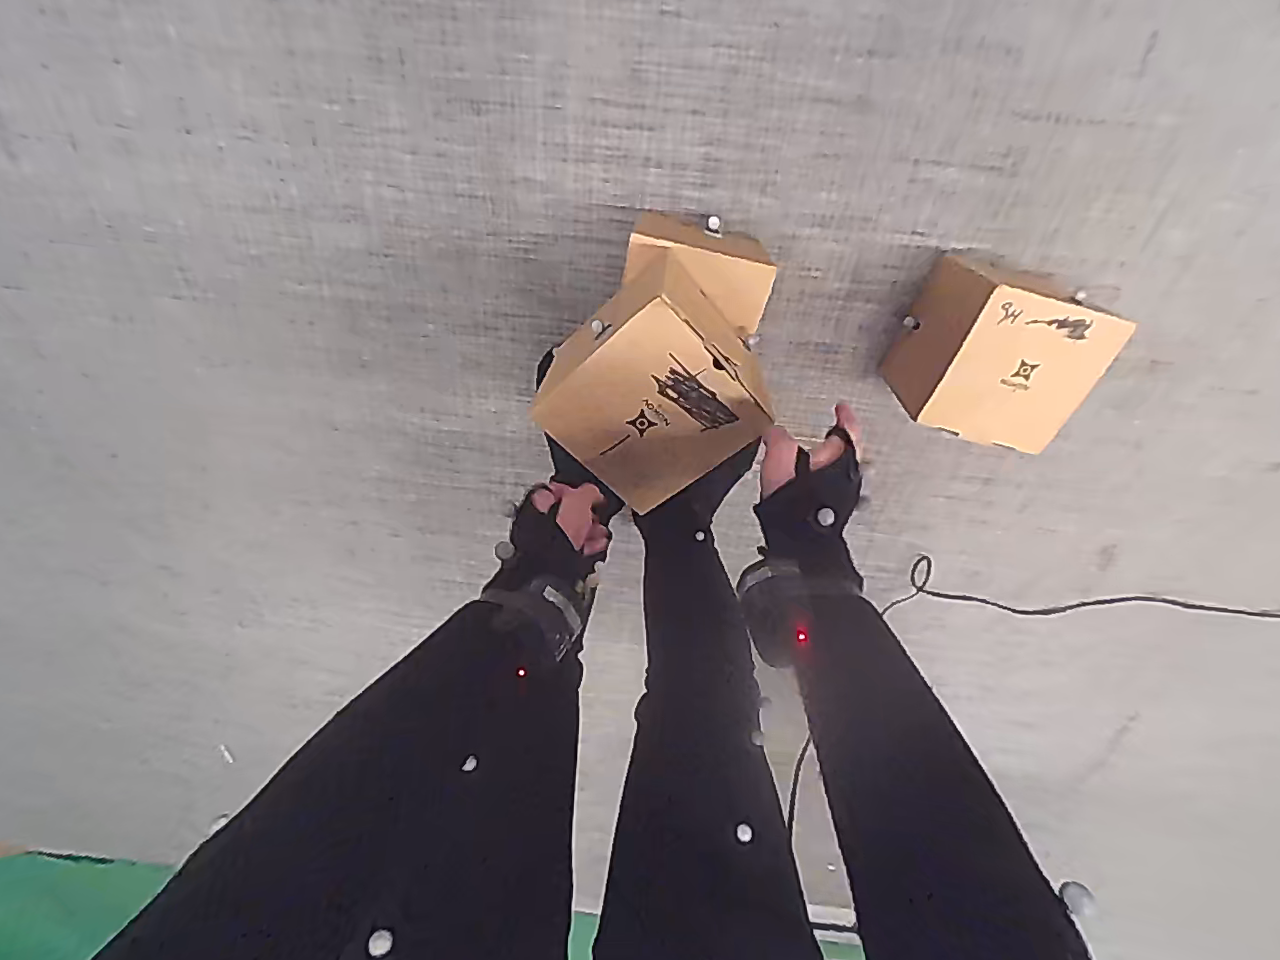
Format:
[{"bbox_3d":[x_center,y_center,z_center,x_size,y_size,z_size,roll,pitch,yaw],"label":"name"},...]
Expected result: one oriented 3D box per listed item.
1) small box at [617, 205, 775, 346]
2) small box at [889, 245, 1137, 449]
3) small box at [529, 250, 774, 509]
[{"bbox_3d":[0.056,-0.228,0.685,0.168,0.176,0.179,12,124,-3],"label":"small box"},{"bbox_3d":[0.441,-0.171,0.682,0.168,0.176,0.179,15,126,-3],"label":"small box"},{"bbox_3d":[0.014,-0.110,0.571,0.179,0.176,0.168,-35,116,27],"label":"small box"}]
